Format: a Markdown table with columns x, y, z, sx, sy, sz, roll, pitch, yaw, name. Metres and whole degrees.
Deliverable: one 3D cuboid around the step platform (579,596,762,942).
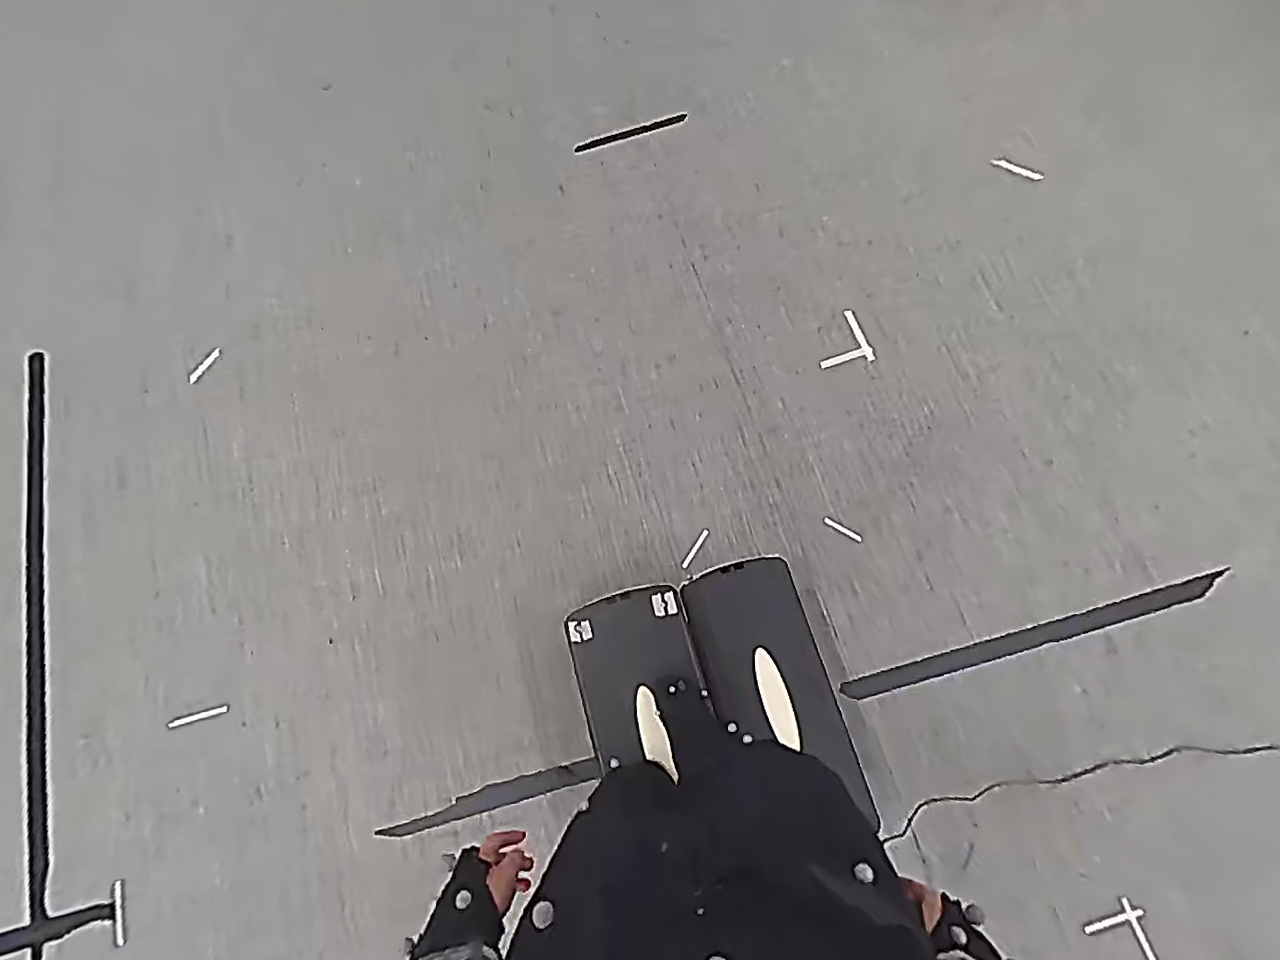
| x | y | z | sx | sy | sz | roll | pitch | yaw | name |
| --- | --- | --- | --- | --- | --- | --- | --- | --- | --- |
| 0.054 | 0.615 | 1.237 | 0.286 | 0.204 | 0.684 | -12 | 72 | -1 | step platform |
